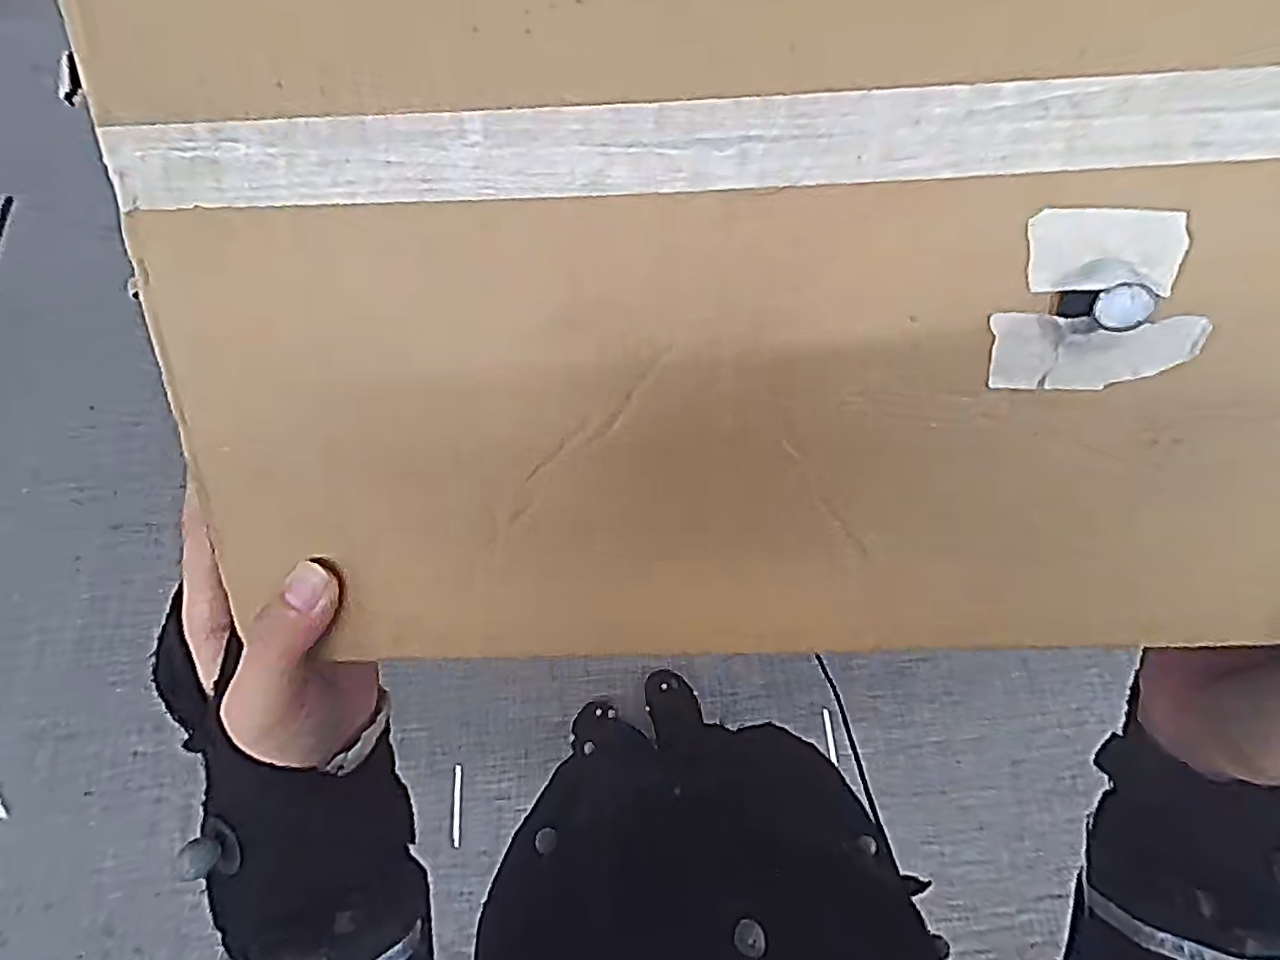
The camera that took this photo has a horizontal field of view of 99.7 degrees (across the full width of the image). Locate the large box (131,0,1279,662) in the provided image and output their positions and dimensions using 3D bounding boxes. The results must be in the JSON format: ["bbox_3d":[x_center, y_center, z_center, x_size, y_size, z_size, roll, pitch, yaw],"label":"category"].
[{"bbox_3d":[0.059,-0.127,0.301,0.408,0.320,0.320,-2,105,1],"label":"large box"}]
